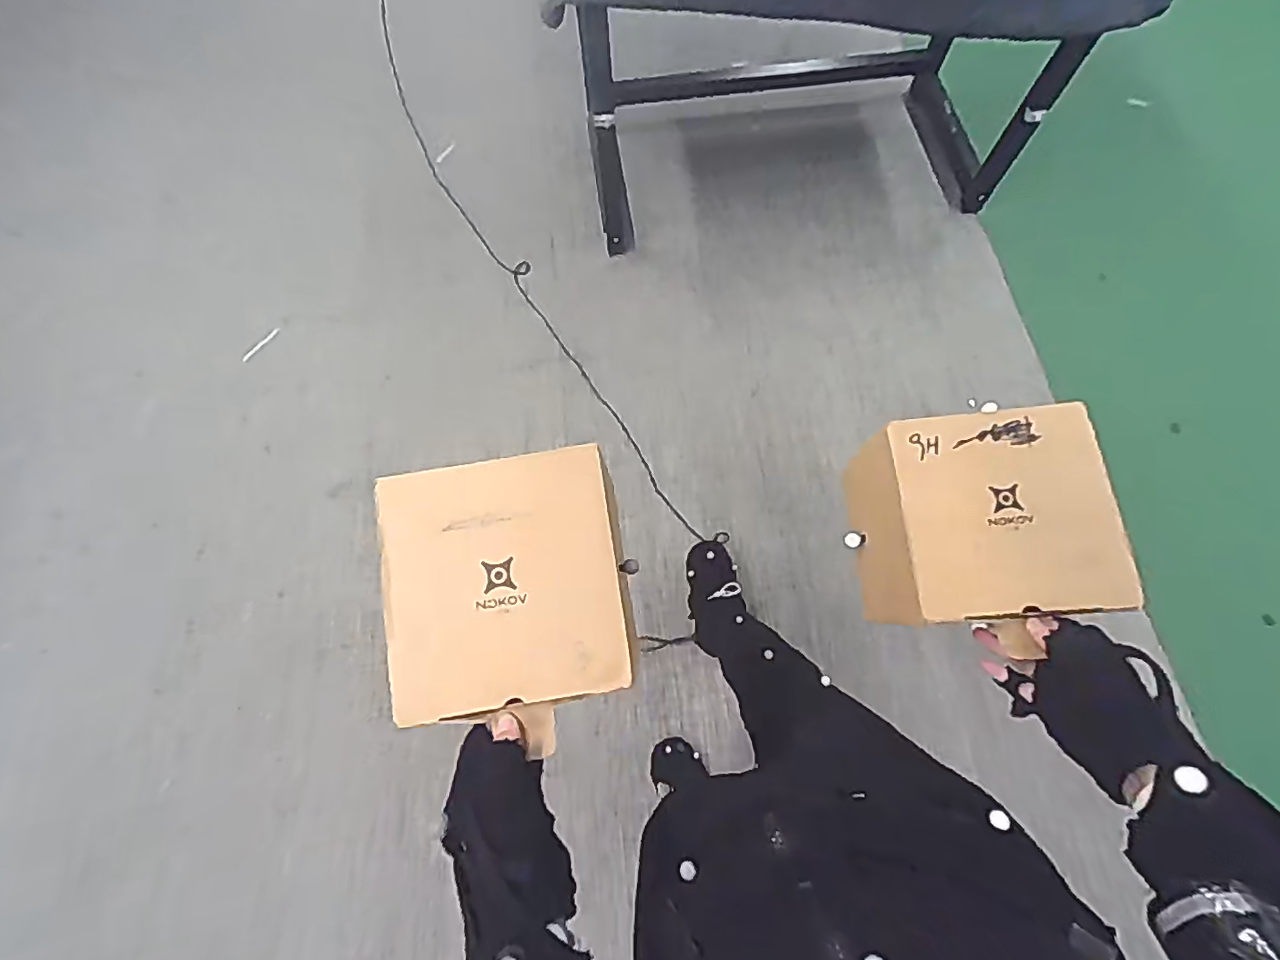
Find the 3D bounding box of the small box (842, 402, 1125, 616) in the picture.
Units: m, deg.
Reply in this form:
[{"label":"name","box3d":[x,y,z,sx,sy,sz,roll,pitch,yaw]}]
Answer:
[{"label":"small box","box3d":[0.313,0.039,0.537,0.168,0.176,0.179,-5,76,5]}]

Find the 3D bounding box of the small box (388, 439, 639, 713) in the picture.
[{"label":"small box","box3d":[-0.093,0.078,0.466,0.168,0.176,0.179,-9,80,-2]}]
